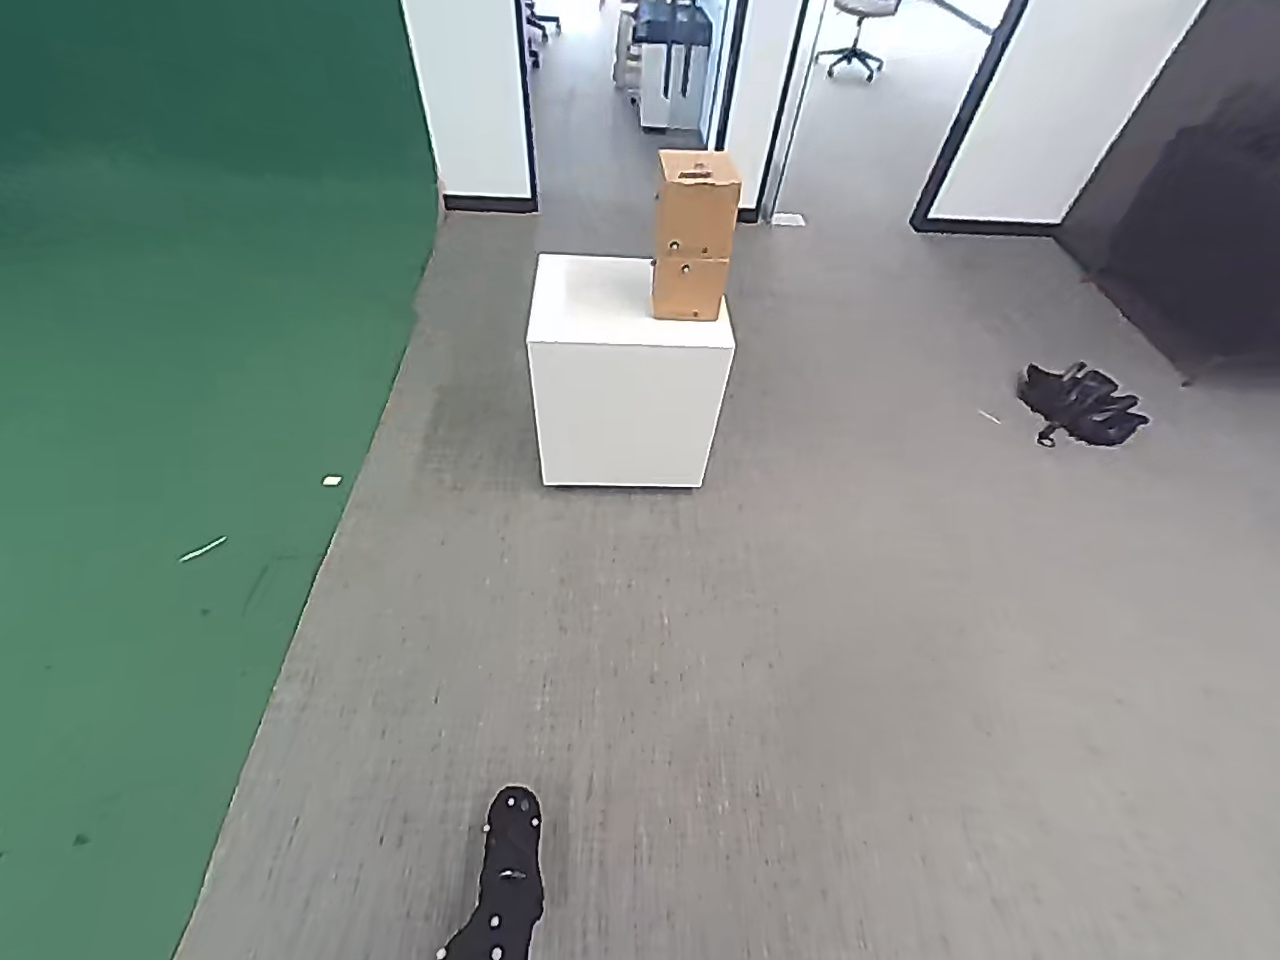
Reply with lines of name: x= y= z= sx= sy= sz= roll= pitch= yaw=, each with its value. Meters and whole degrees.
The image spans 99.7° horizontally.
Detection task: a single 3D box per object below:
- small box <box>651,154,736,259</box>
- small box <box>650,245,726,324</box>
small box: x=0.115 y=-0.627 z=1.244 sx=0.168 sy=0.176 sz=0.179 roll=-2 pitch=51 yaw=-5
small box: x=0.114 y=-0.519 z=1.368 sx=0.168 sy=0.176 sz=0.179 roll=0 pitch=51 yaw=-3
